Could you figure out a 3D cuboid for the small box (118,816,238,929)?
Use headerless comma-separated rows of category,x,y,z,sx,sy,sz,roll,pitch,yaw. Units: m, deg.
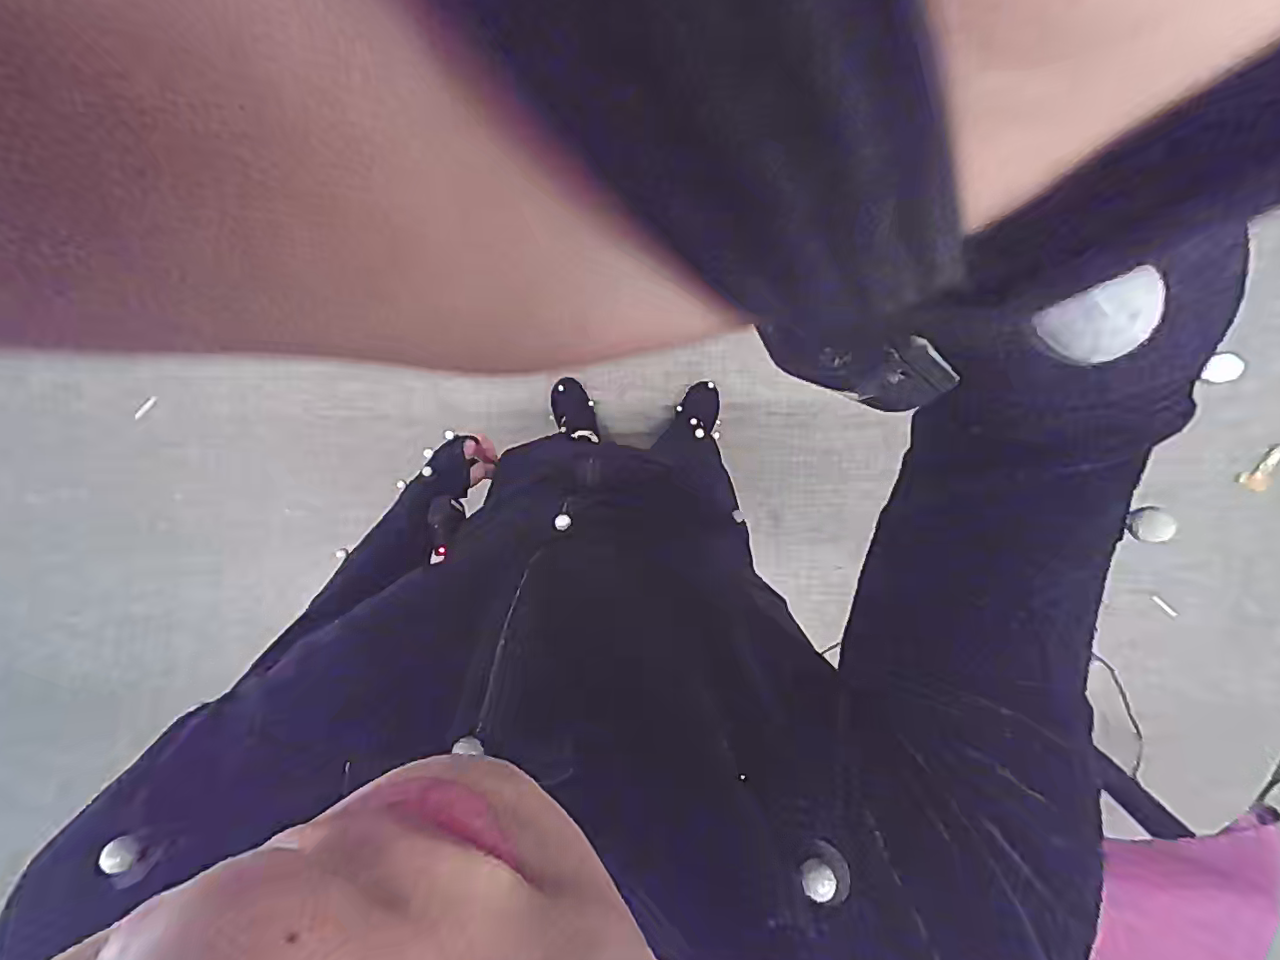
small box,-1.211,1.028,1.428,0.179,0.176,0.168,7,103,1

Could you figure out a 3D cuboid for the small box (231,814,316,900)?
small box,-1.224,1.252,1.810,0.179,0.176,0.168,5,102,2
